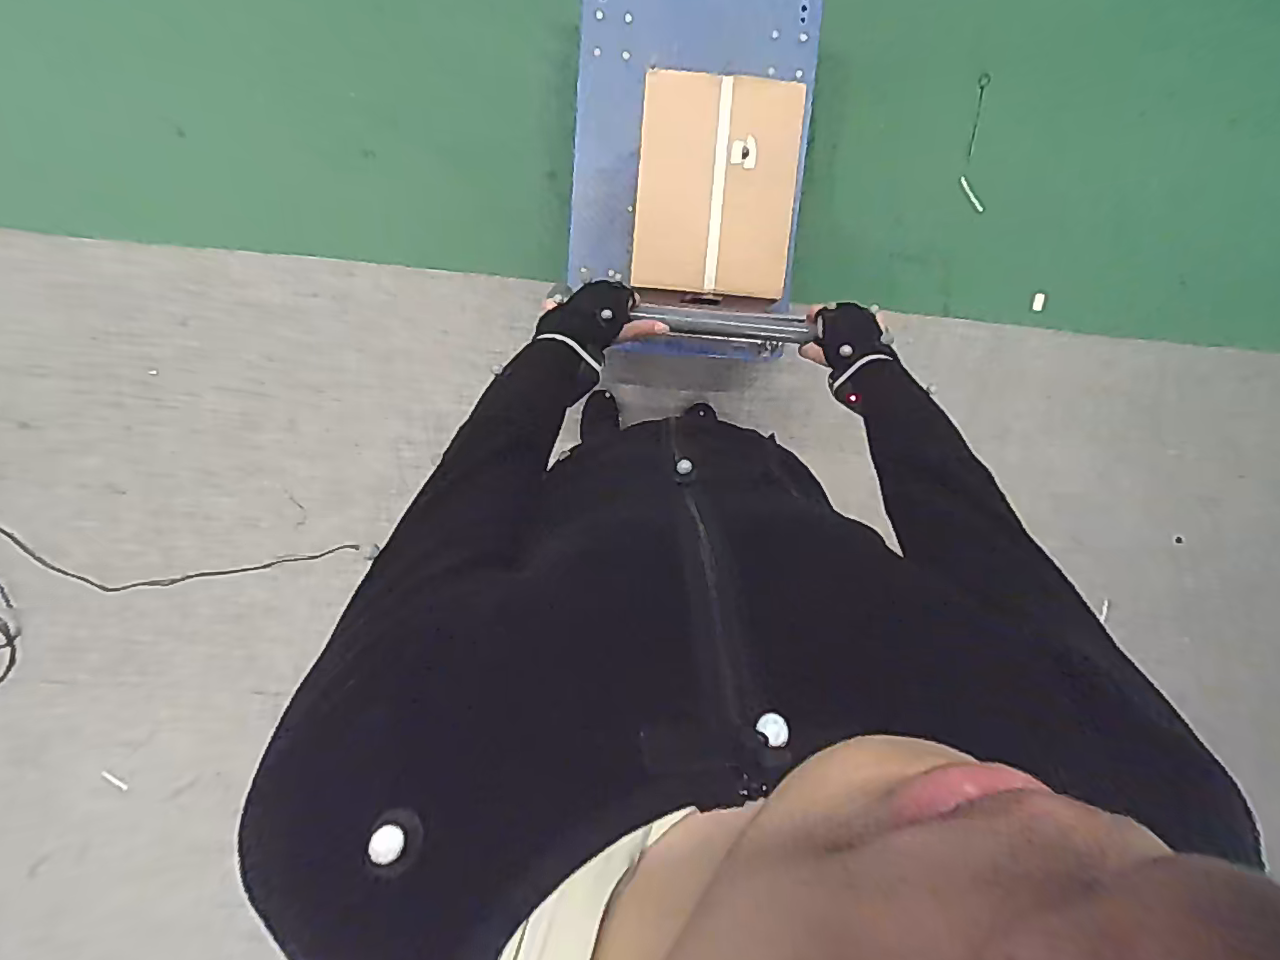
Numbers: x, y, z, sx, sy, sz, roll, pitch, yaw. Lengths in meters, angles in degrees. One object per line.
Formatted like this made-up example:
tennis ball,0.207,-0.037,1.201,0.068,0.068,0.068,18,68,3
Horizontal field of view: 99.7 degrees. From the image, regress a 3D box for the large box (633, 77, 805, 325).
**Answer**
large box,0.149,-0.578,1.204,0.320,0.320,0.408,4,97,-3
